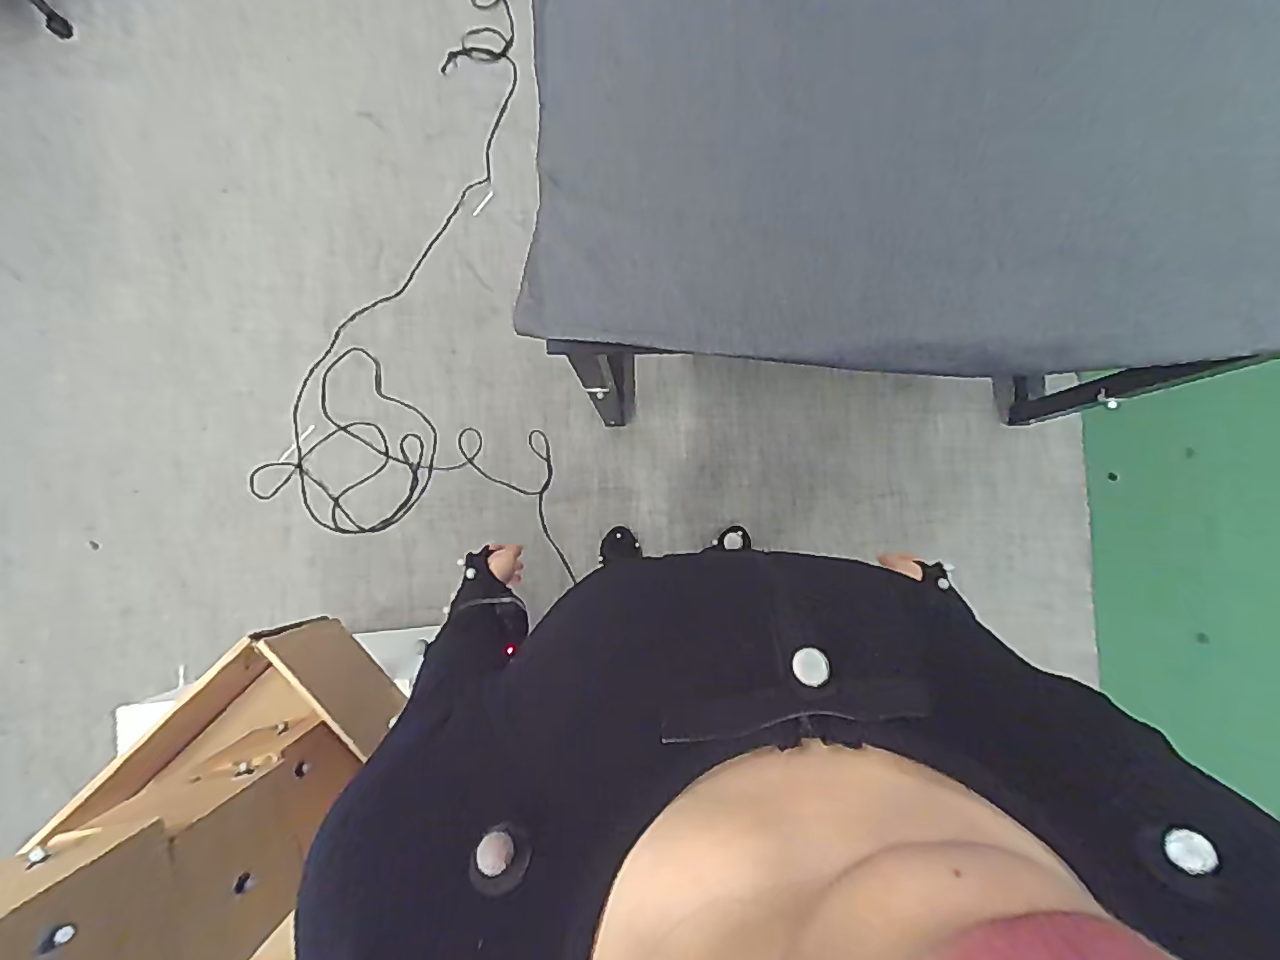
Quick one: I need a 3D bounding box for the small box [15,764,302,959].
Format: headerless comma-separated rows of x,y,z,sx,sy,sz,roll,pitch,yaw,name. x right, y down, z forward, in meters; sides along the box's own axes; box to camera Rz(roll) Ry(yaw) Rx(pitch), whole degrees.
-0.521,0.447,0.610,0.168,0.176,0.179,-10,89,2,small box
